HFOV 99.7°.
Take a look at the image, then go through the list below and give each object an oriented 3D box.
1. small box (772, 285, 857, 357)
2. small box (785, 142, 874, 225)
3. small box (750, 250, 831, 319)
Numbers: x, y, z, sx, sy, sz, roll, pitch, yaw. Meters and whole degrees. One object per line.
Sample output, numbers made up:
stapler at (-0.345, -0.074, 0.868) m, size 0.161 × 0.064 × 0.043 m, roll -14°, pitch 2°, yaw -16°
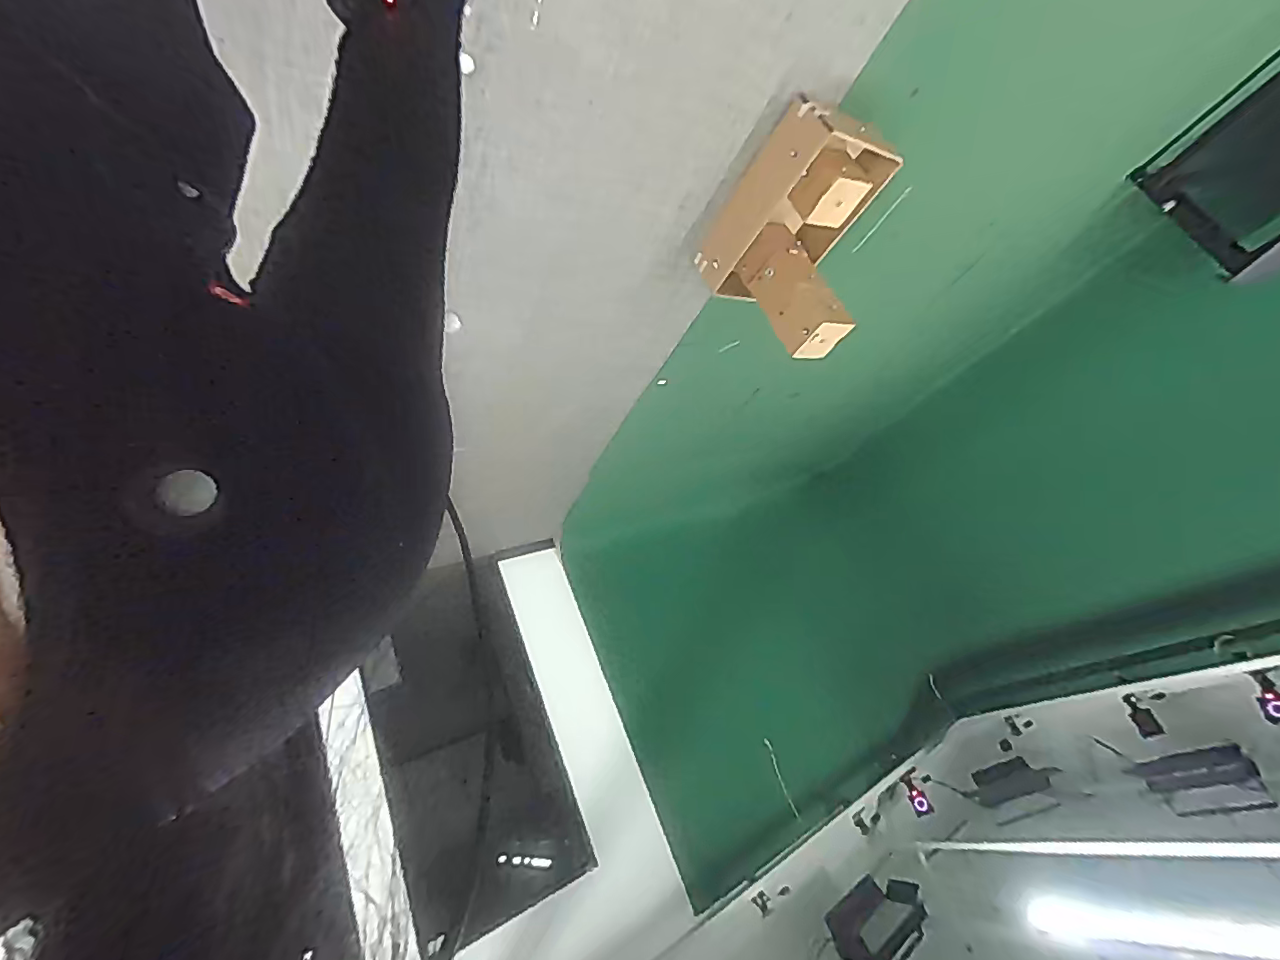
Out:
small box at (0.583, -0.534, 1.822) m, size 0.179 × 0.176 × 0.168 m, roll -9°, pitch 153°, yaw -34°
small box at (0.610, -0.959, 1.753) m, size 0.179 × 0.176 × 0.168 m, roll -10°, pitch 156°, yaw -31°
small box at (0.521, -0.674, 1.883) m, size 0.179 × 0.176 × 0.168 m, roll -6°, pitch 151°, yaw -36°
